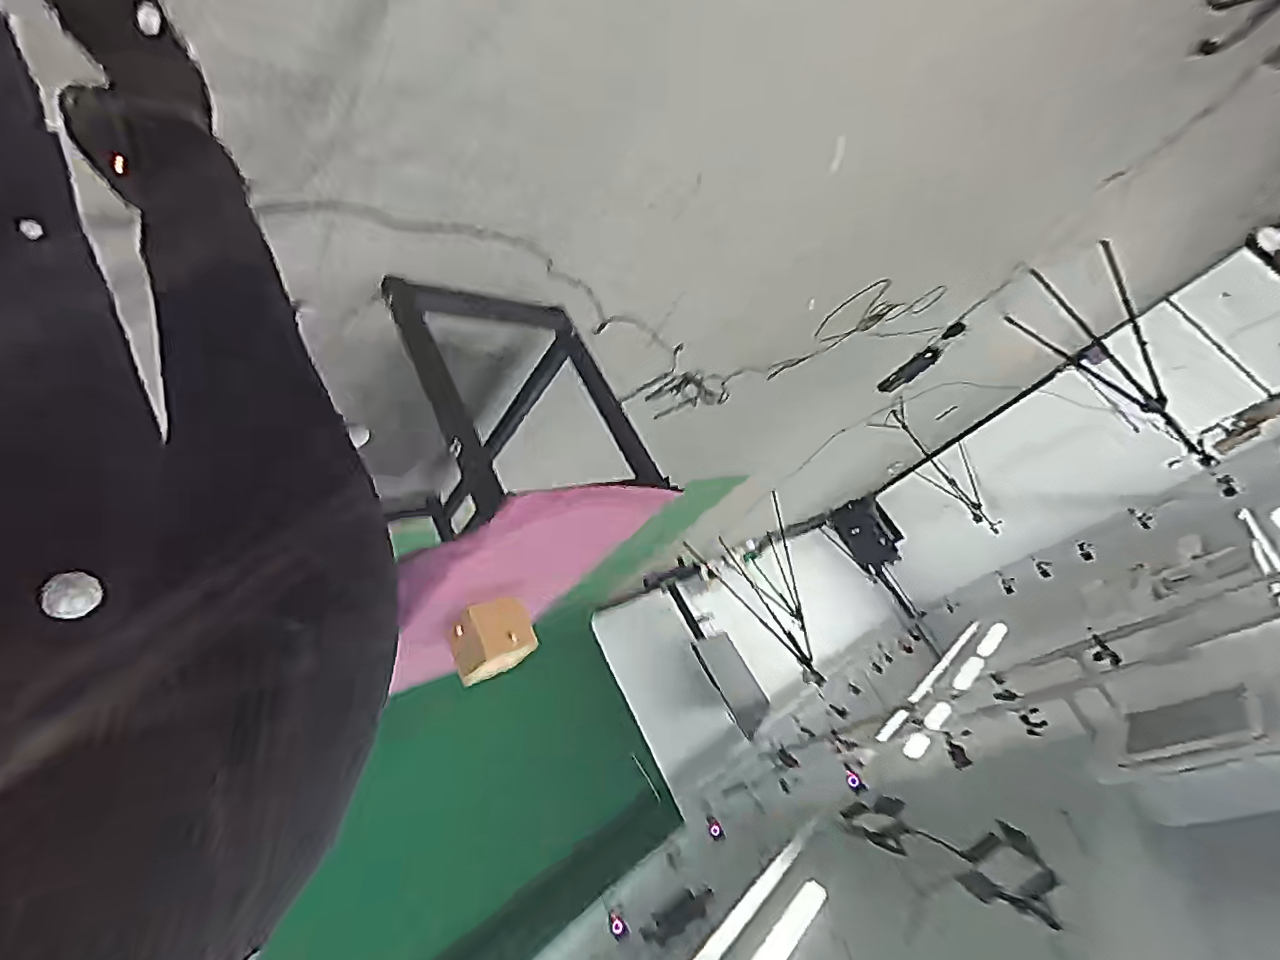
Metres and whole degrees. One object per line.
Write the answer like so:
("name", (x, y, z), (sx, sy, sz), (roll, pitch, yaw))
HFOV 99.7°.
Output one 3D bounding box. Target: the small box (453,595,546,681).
("small box", (-0.416, 0.459, 1.595), (0.179, 0.176, 0.168), (-5, 148, -51))
